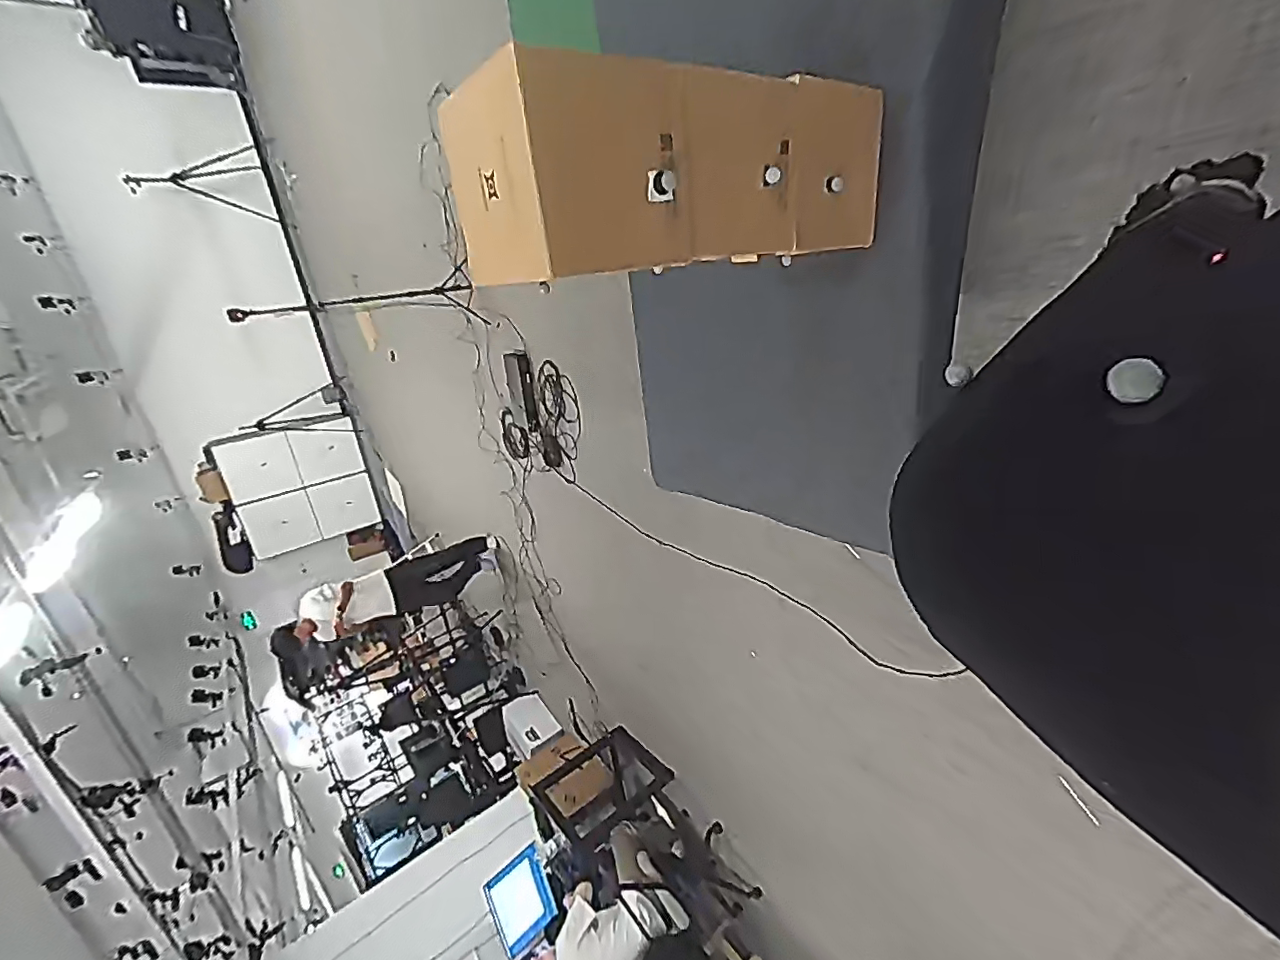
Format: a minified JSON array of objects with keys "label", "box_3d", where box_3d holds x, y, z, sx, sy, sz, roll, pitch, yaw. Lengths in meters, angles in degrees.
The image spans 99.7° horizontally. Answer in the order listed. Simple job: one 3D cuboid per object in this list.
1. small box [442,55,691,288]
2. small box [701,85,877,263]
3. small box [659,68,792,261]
[{"label":"small box","box_3d":[-0.071,-0.288,0.540,0.179,0.176,0.168,20,125,49]},{"label":"small box","box_3d":[0.188,-0.390,0.710,0.168,0.176,0.179,23,127,49]},{"label":"small box","box_3d":[0.053,-0.345,0.628,0.179,0.176,0.168,22,125,52]}]
